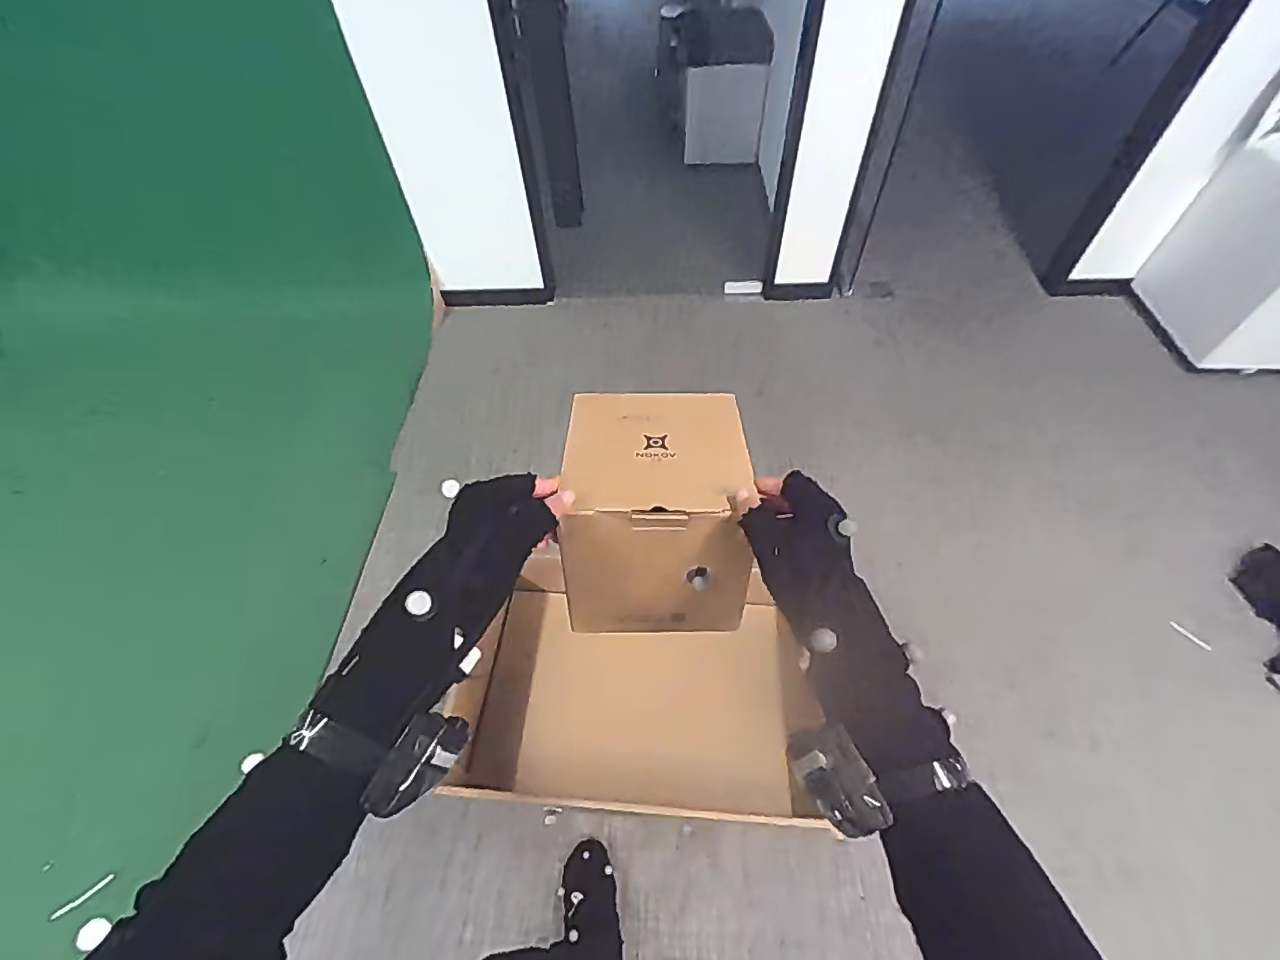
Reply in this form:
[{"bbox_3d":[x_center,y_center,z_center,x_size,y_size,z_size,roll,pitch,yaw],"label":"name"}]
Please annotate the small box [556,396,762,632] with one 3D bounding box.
[{"bbox_3d":[0.016,0.034,0.535,0.168,0.176,0.179,0,39,-1],"label":"small box"}]
